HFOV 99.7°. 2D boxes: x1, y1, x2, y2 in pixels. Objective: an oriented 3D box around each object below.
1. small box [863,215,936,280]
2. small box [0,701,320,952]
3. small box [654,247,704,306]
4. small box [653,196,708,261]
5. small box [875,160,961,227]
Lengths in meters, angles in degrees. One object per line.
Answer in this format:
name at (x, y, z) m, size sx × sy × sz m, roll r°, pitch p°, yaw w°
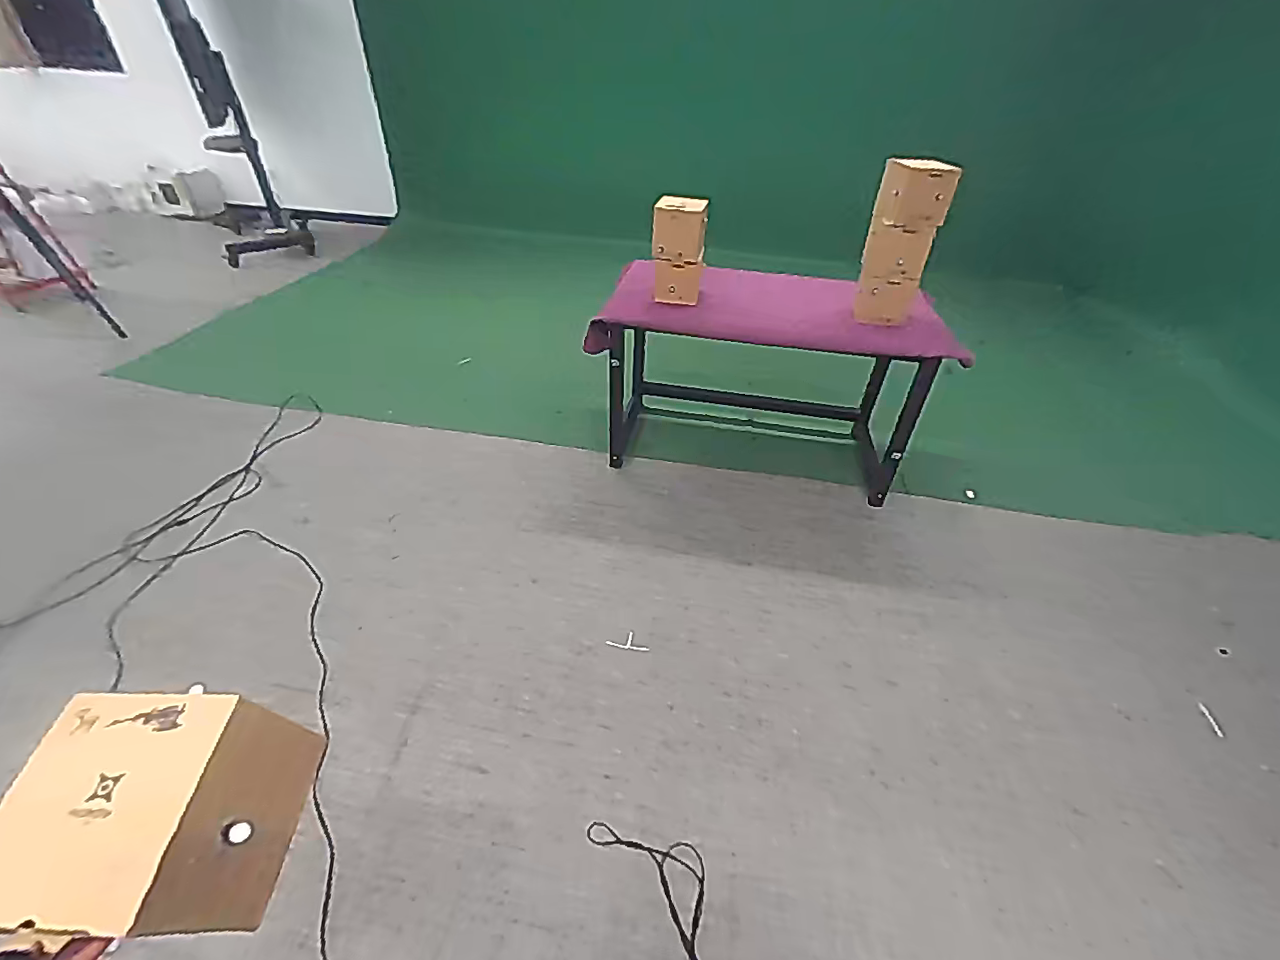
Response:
small box at (0.883, -0.805, 1.860) m, size 0.168 × 0.176 × 0.179 m, roll 6°, pitch 39°, yaw 5°
small box at (-0.450, 0.327, 0.521) m, size 0.168 × 0.176 × 0.179 m, roll 0°, pitch 53°, yaw 3°
small box at (0.147, -0.781, 2.050) m, size 0.168 × 0.176 × 0.179 m, roll 8°, pitch 41°, yaw 5°
small box at (0.143, -0.898, 1.934) m, size 0.168 × 0.176 × 0.179 m, roll 11°, pitch 40°, yaw 8°
small box at (0.896, -0.931, 1.758) m, size 0.168 × 0.176 × 0.179 m, roll 0°, pitch 38°, yaw -4°
